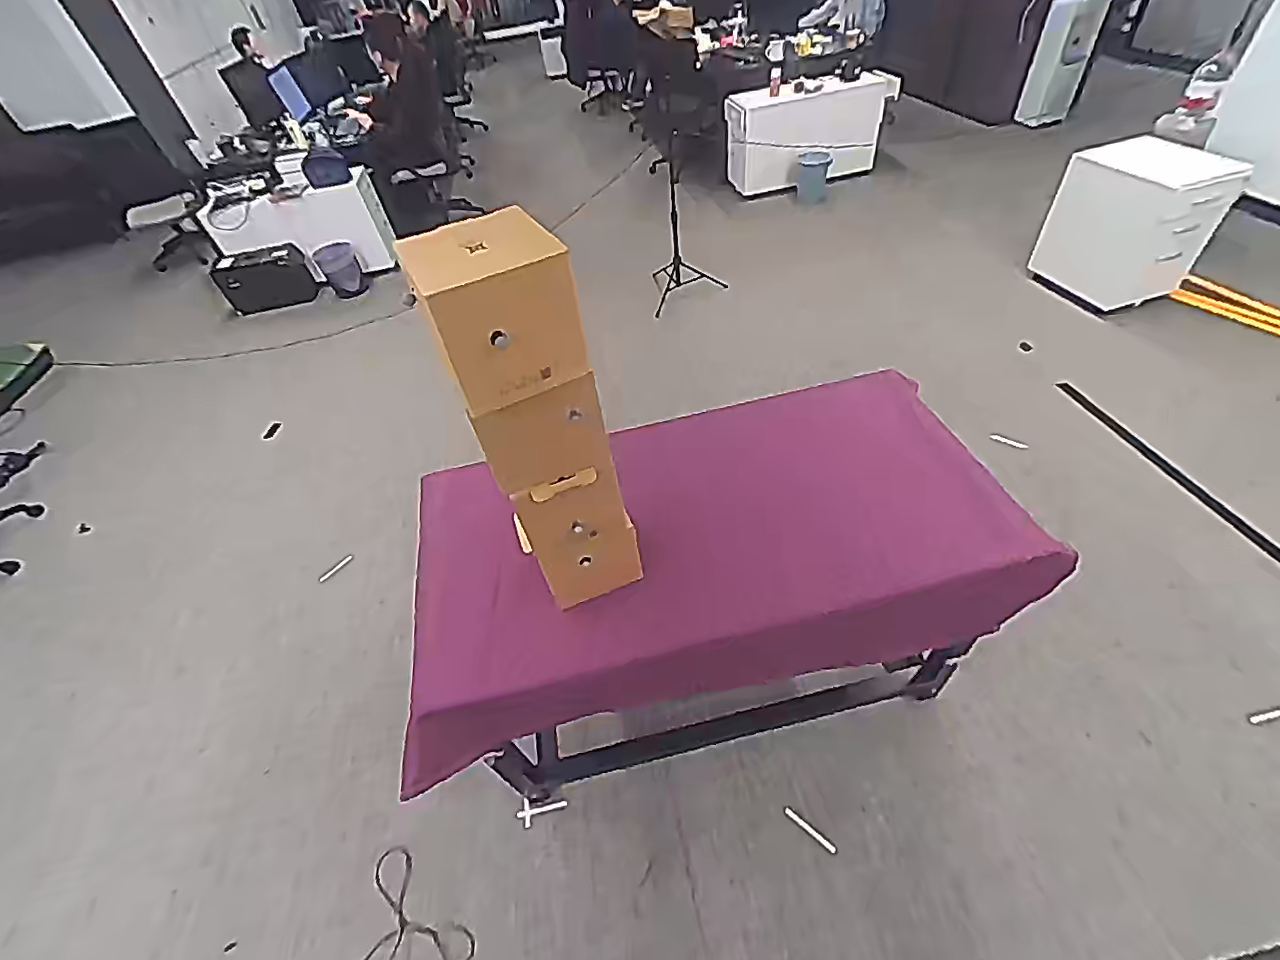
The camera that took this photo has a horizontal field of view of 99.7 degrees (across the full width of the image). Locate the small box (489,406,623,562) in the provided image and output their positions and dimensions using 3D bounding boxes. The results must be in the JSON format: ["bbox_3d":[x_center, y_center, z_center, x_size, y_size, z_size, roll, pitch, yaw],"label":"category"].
[{"bbox_3d":[-0.141,0.007,0.928,0.168,0.176,0.179,-21,48,-10],"label":"small box"}]

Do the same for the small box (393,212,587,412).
[{"bbox_3d":[-0.182,-0.207,0.683,0.168,0.176,0.179,-26,48,-16],"label":"small box"}]

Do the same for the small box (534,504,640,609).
[{"bbox_3d":[-0.113,0.121,1.045,0.179,0.176,0.168,-20,47,-11],"label":"small box"}]
